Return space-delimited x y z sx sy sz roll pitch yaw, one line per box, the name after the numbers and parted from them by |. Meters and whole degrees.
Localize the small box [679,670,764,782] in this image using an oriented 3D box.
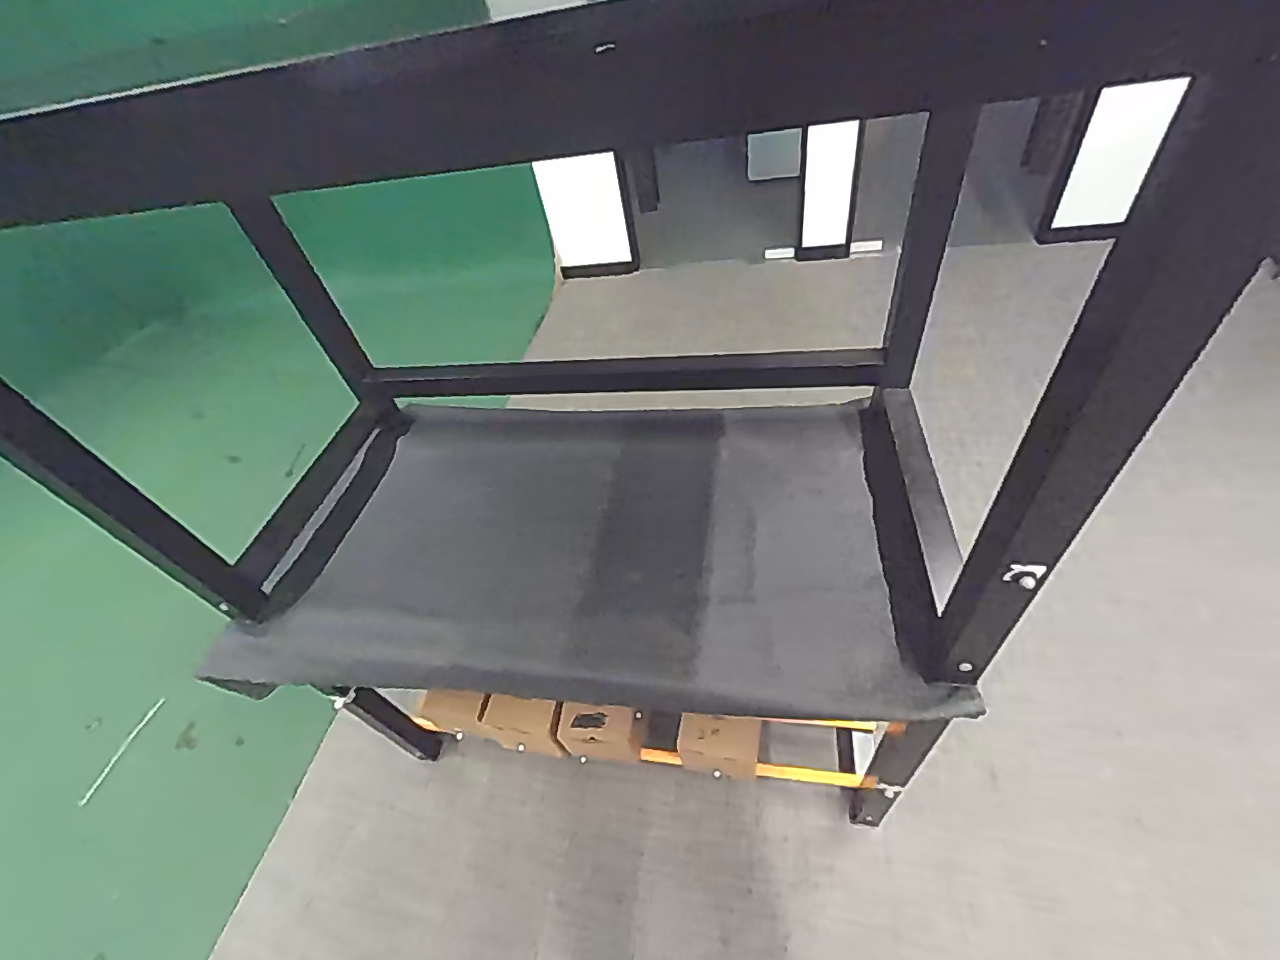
0.195 0.569 1.248 0.168 0.176 0.179 4 50 17 | small box
